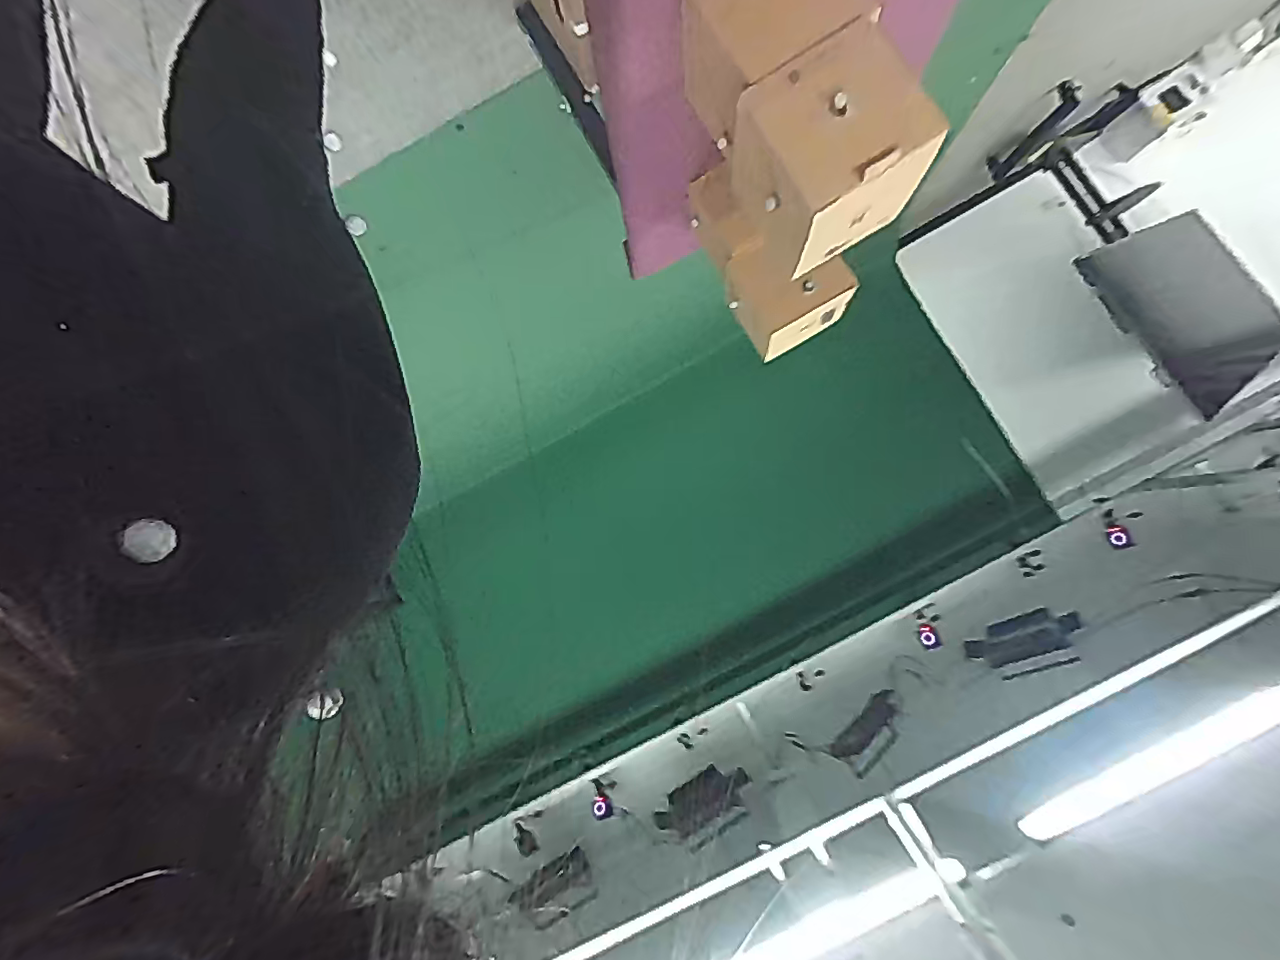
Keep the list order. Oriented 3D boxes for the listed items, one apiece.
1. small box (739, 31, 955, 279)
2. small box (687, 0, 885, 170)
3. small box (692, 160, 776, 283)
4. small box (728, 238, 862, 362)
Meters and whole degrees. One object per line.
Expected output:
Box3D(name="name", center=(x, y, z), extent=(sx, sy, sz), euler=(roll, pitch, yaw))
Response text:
Box3D(name="small box", center=(0.235, -0.394, 0.666), extent=(0.168, 0.176, 0.179), euler=(-30, 172, 5))
Box3D(name="small box", center=(0.171, -0.544, 0.692), extent=(0.168, 0.176, 0.179), euler=(-31, 172, 3))
Box3D(name="small box", center=(0.219, -0.514, 1.054), extent=(0.179, 0.176, 0.168), euler=(-31, 171, 5))
Box3D(name="small box", center=(0.290, -0.365, 1.047), extent=(0.179, 0.176, 0.168), euler=(-30, 170, 5))
